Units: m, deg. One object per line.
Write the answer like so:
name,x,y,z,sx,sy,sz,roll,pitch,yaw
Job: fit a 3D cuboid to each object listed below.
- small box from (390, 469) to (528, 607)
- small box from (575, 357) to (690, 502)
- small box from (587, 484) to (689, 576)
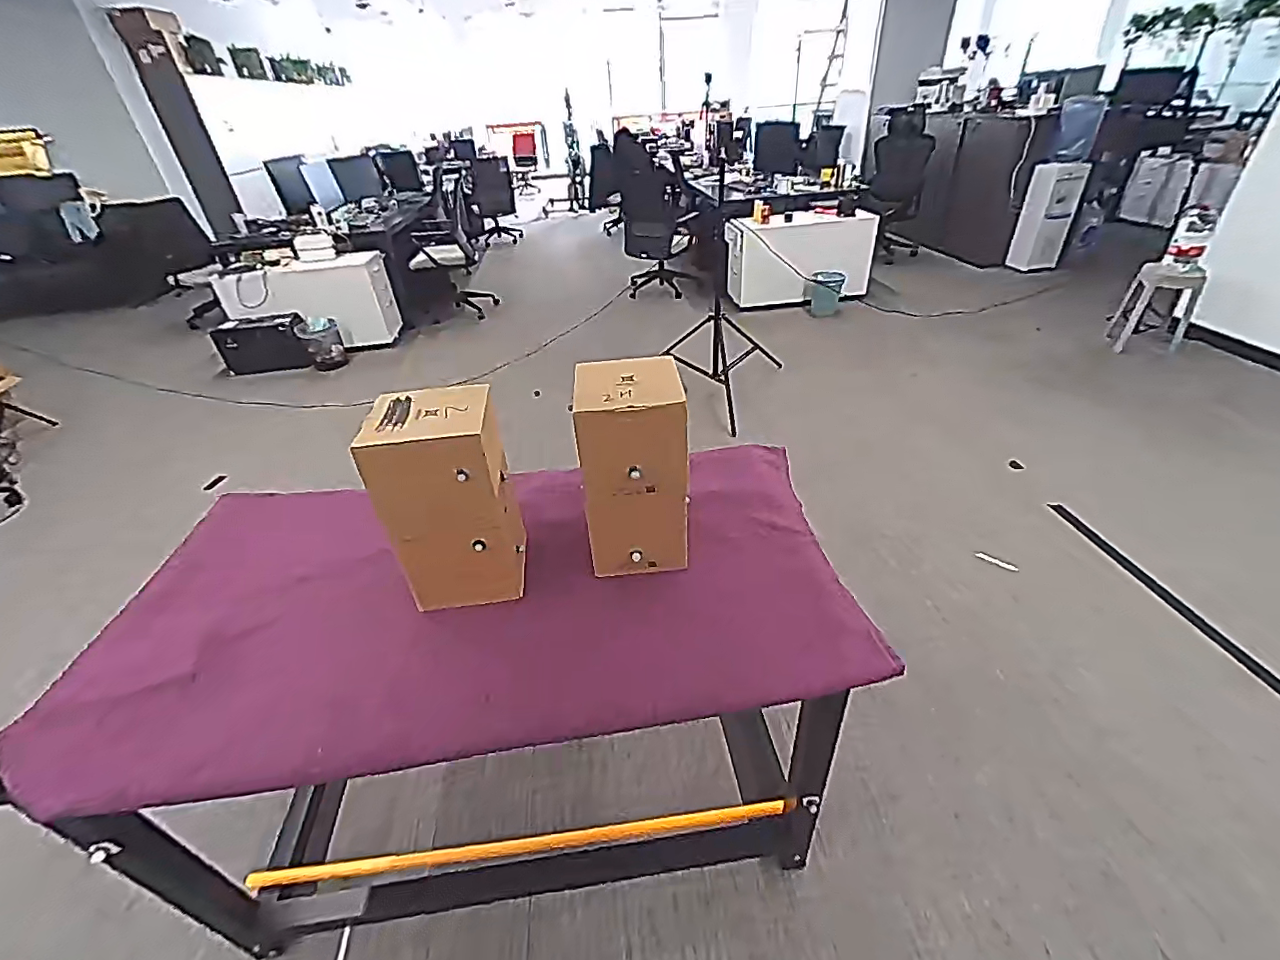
small box,-0.300,0.102,0.937,0.179,0.176,0.168,-7,35,-4
small box,-0.011,-0.085,0.881,0.168,0.176,0.179,-6,36,-1
small box,-0.004,0.049,0.976,0.168,0.176,0.179,-5,36,-1
